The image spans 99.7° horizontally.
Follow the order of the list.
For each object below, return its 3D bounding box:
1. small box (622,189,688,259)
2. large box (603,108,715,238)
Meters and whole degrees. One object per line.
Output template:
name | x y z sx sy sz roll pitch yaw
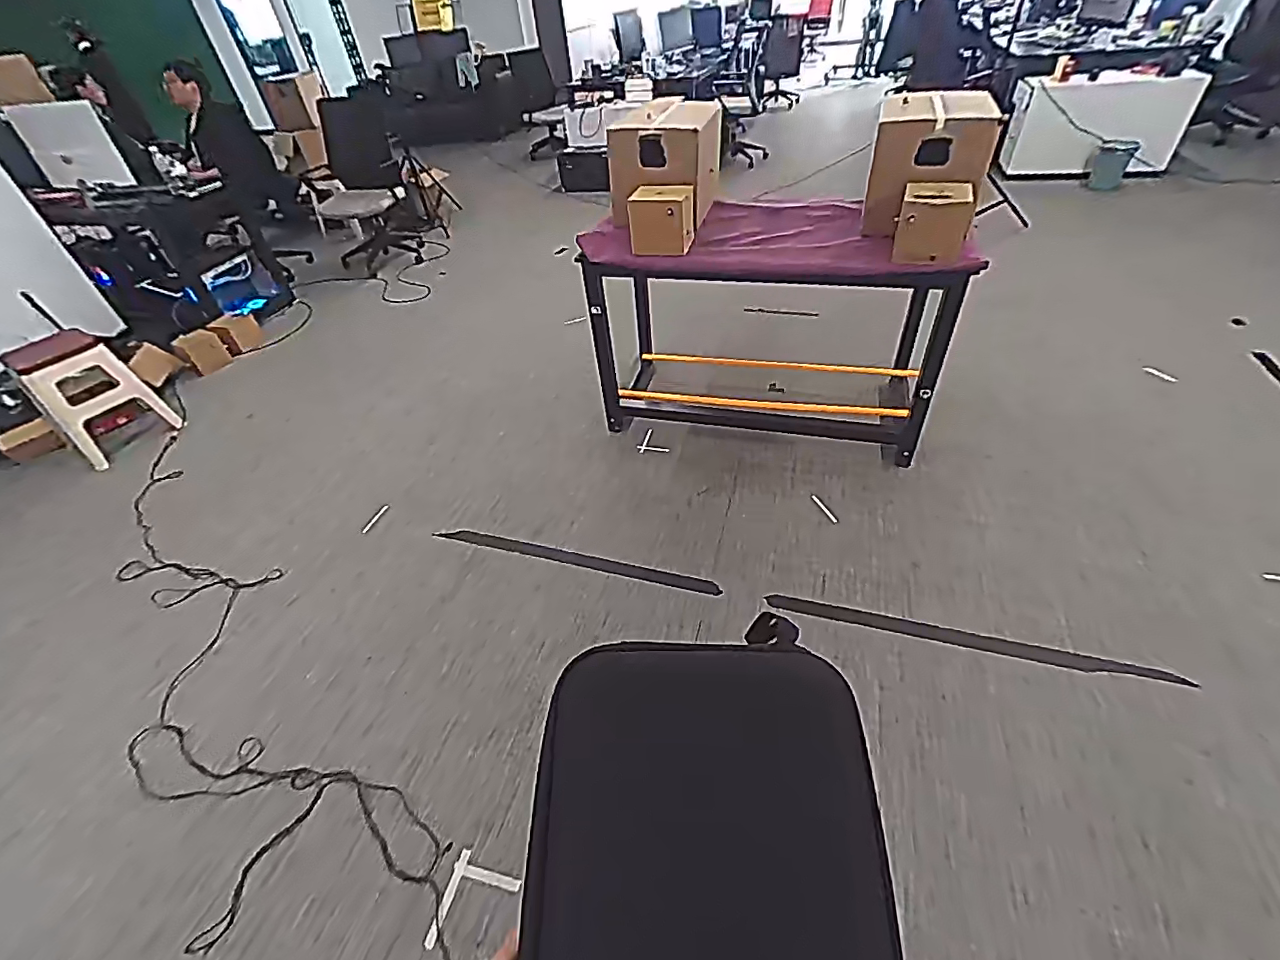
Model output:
small box | 0.054 -0.829 1.752 0.179 0.176 0.168 7 43 13
large box | 0.083 -1.112 1.952 0.320 0.320 0.408 8 47 14
